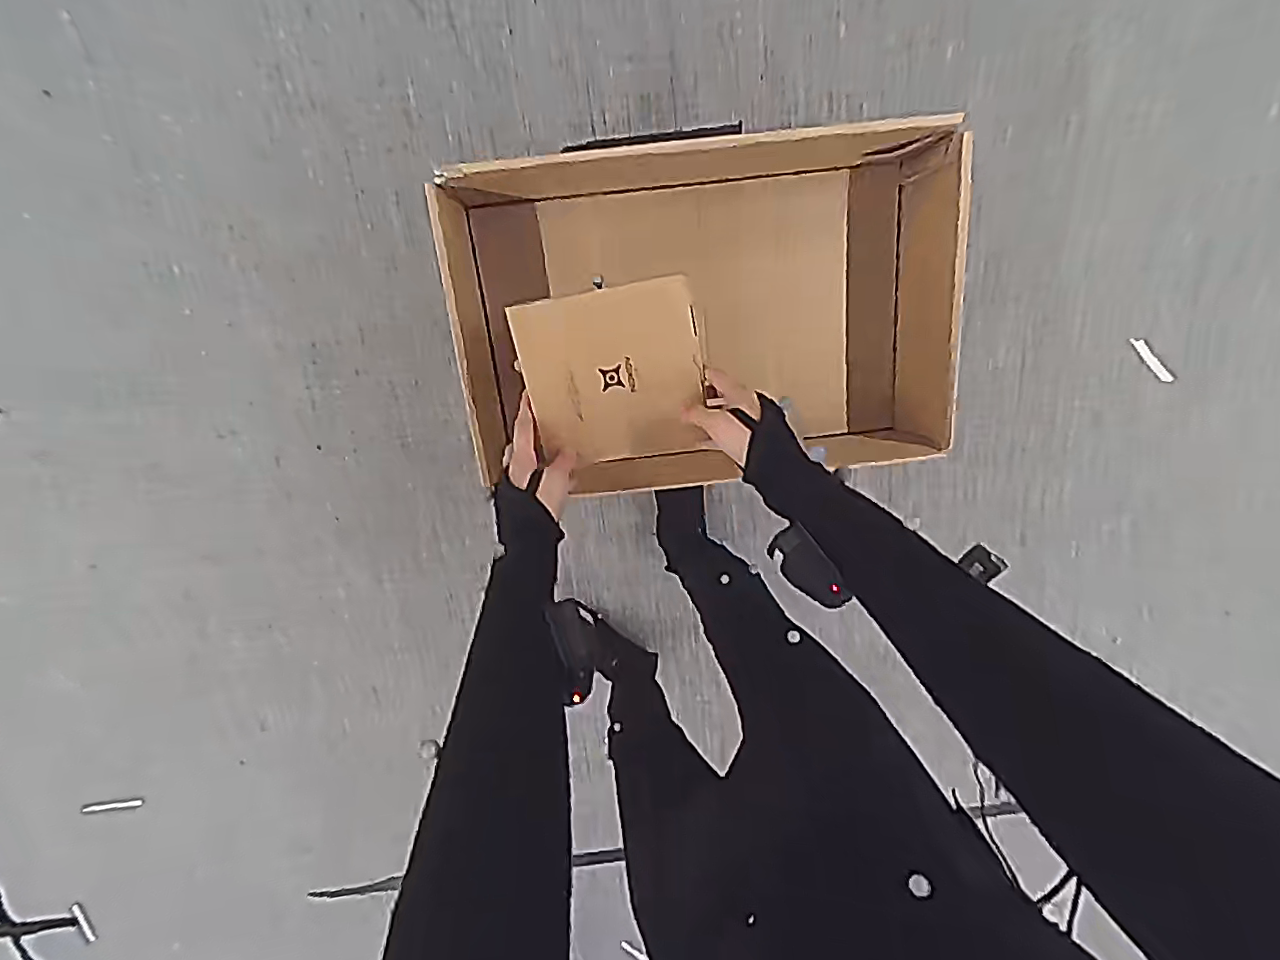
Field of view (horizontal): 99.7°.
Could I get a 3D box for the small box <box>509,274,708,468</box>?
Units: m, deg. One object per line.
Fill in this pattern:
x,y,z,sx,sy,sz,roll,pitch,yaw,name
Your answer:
-0.038,-0.130,0.606,0.179,0.176,0.168,-13,109,-5,small box
